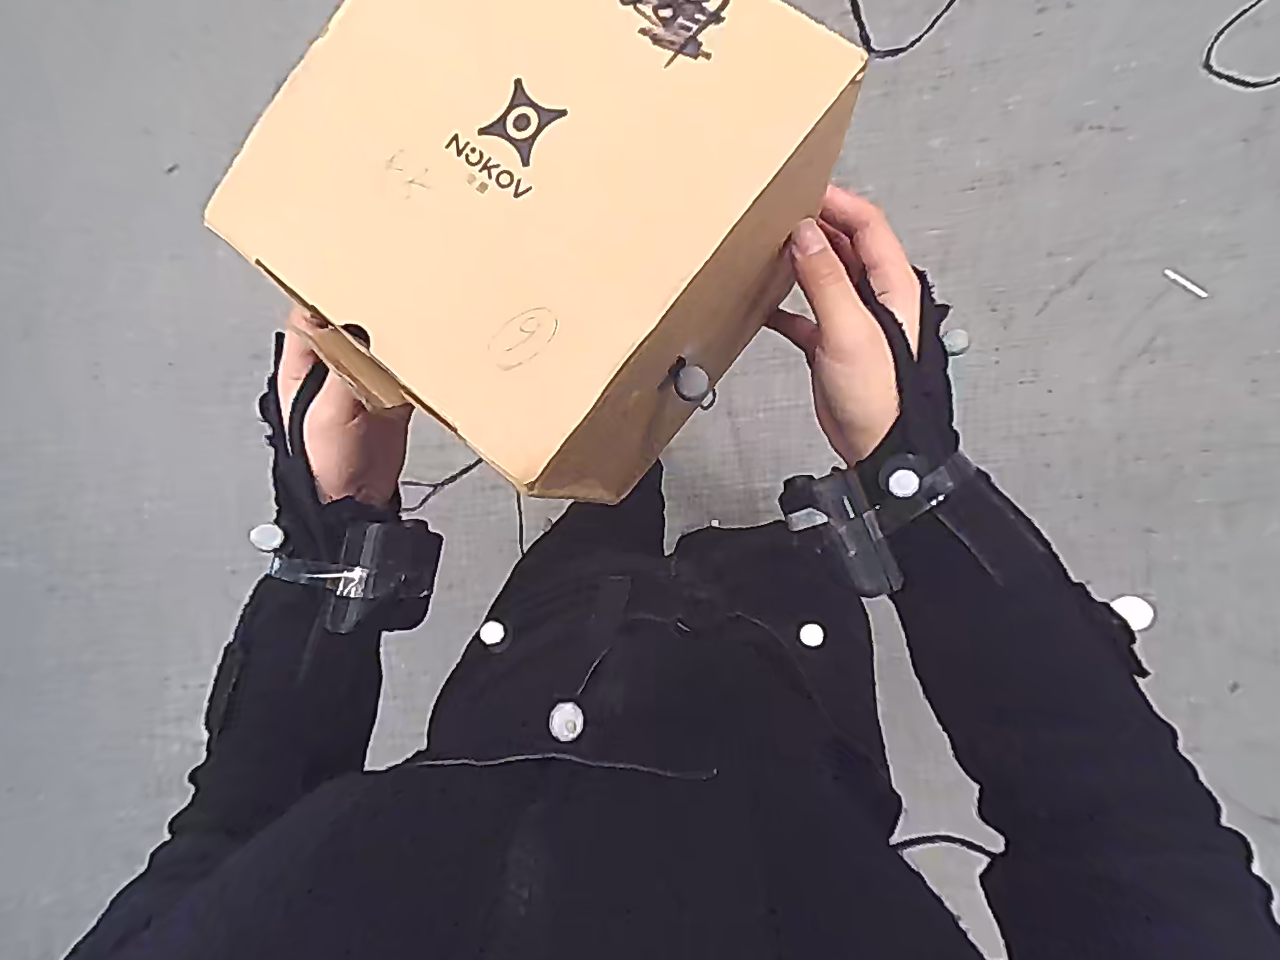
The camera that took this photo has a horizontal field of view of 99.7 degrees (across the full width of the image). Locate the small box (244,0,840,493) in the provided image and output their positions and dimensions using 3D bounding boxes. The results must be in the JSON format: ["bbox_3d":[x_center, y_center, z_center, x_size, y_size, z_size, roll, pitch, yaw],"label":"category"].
[{"bbox_3d":[-0.032,-0.106,0.276,0.168,0.176,0.179,39,93,9],"label":"small box"}]
